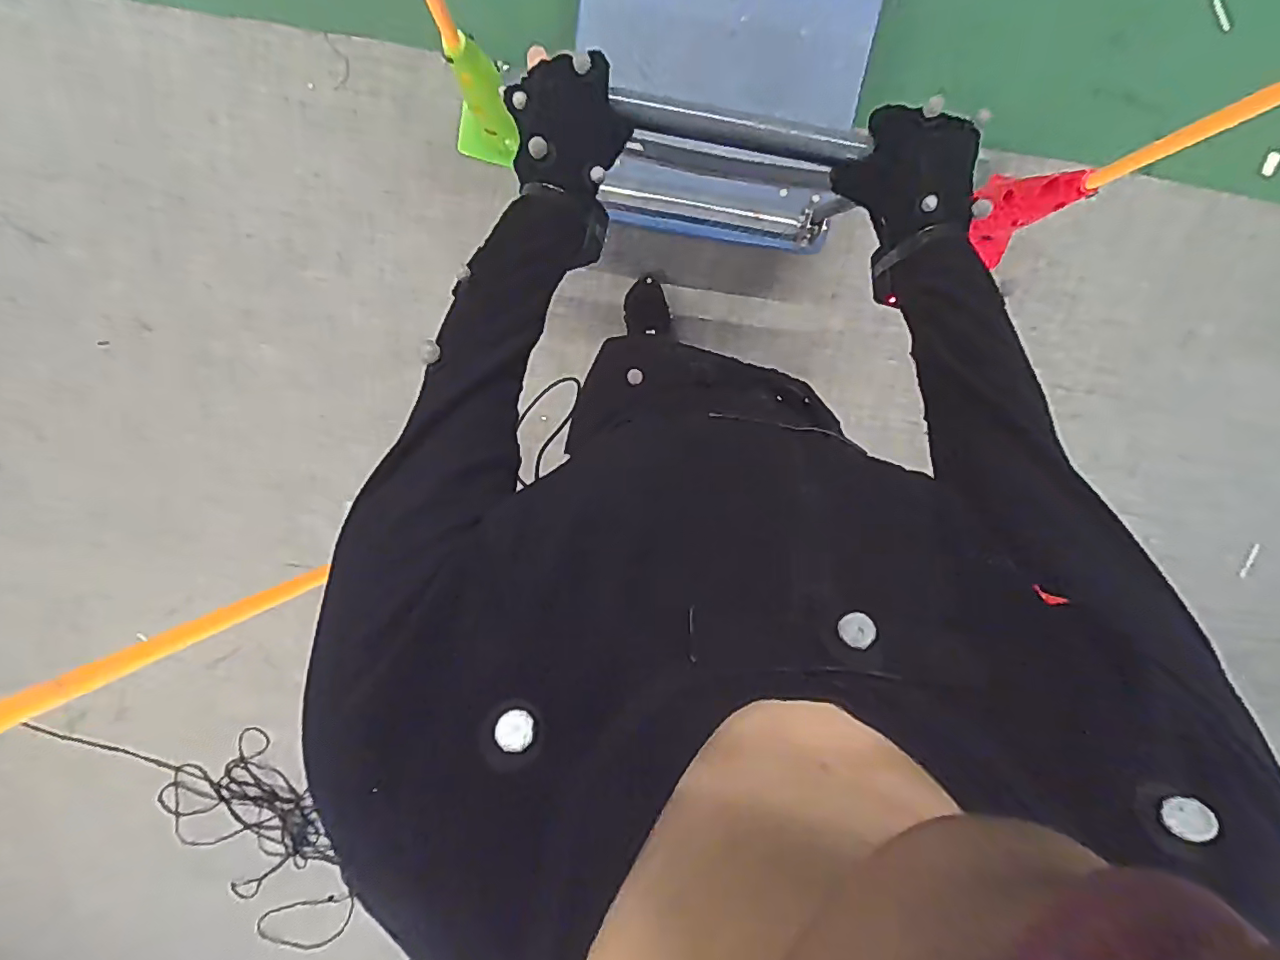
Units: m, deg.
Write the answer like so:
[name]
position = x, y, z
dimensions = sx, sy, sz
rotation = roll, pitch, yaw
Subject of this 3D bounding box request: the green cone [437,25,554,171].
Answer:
[green cone]
position = -0.315, -0.797, 1.086
dimensions = 0.202, 0.368, 0.200
rotation = 14, 105, -3
